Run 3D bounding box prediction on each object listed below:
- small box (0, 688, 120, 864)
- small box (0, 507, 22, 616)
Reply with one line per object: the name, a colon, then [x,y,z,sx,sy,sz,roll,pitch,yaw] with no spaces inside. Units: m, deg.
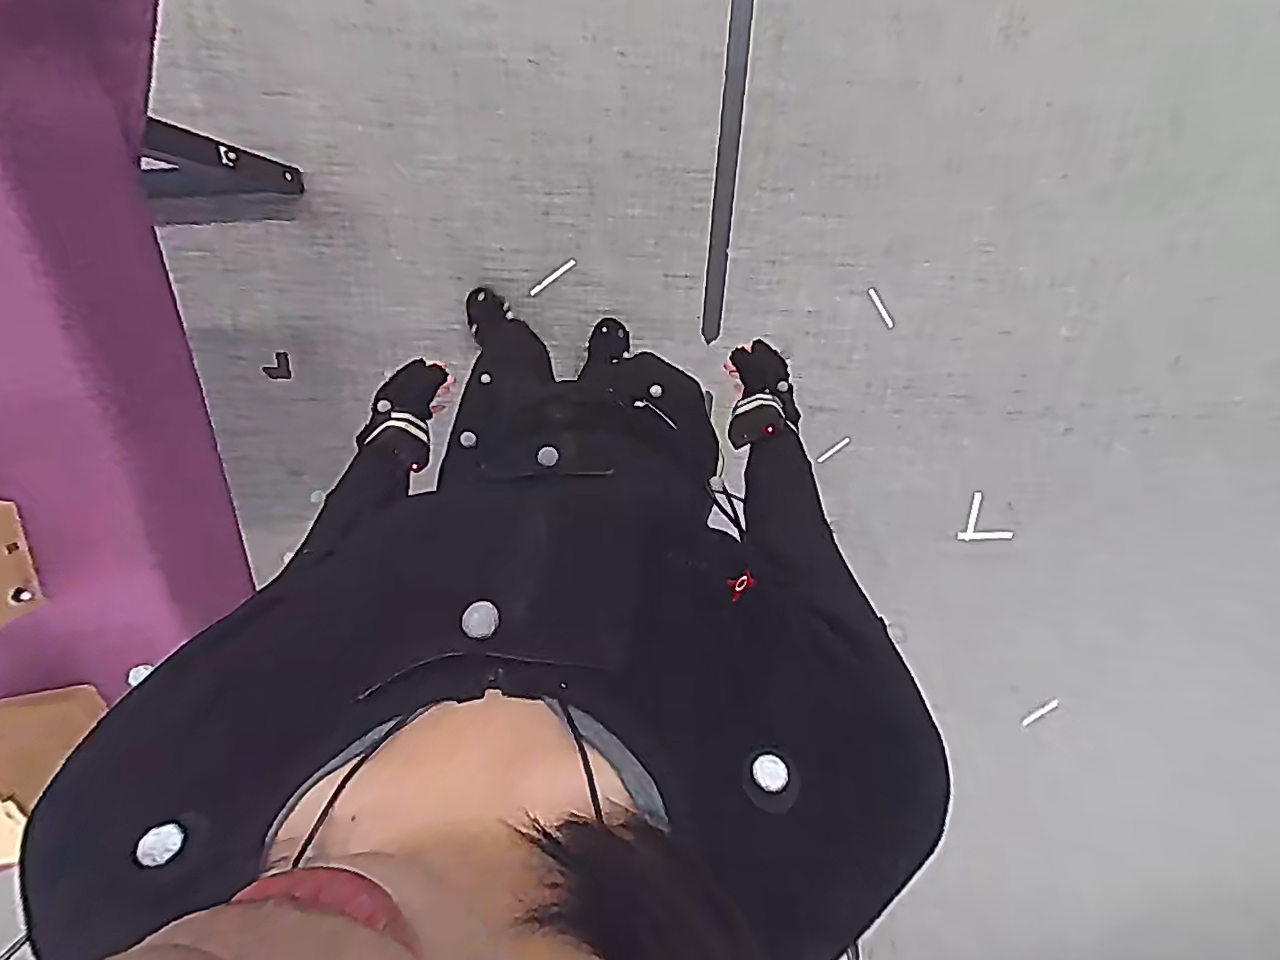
small box: [-0.932,0.432,0.793,0.179,0.176,0.168,-10,109,0]
small box: [-0.956,0.122,0.682,0.179,0.176,0.168,5,109,-4]
